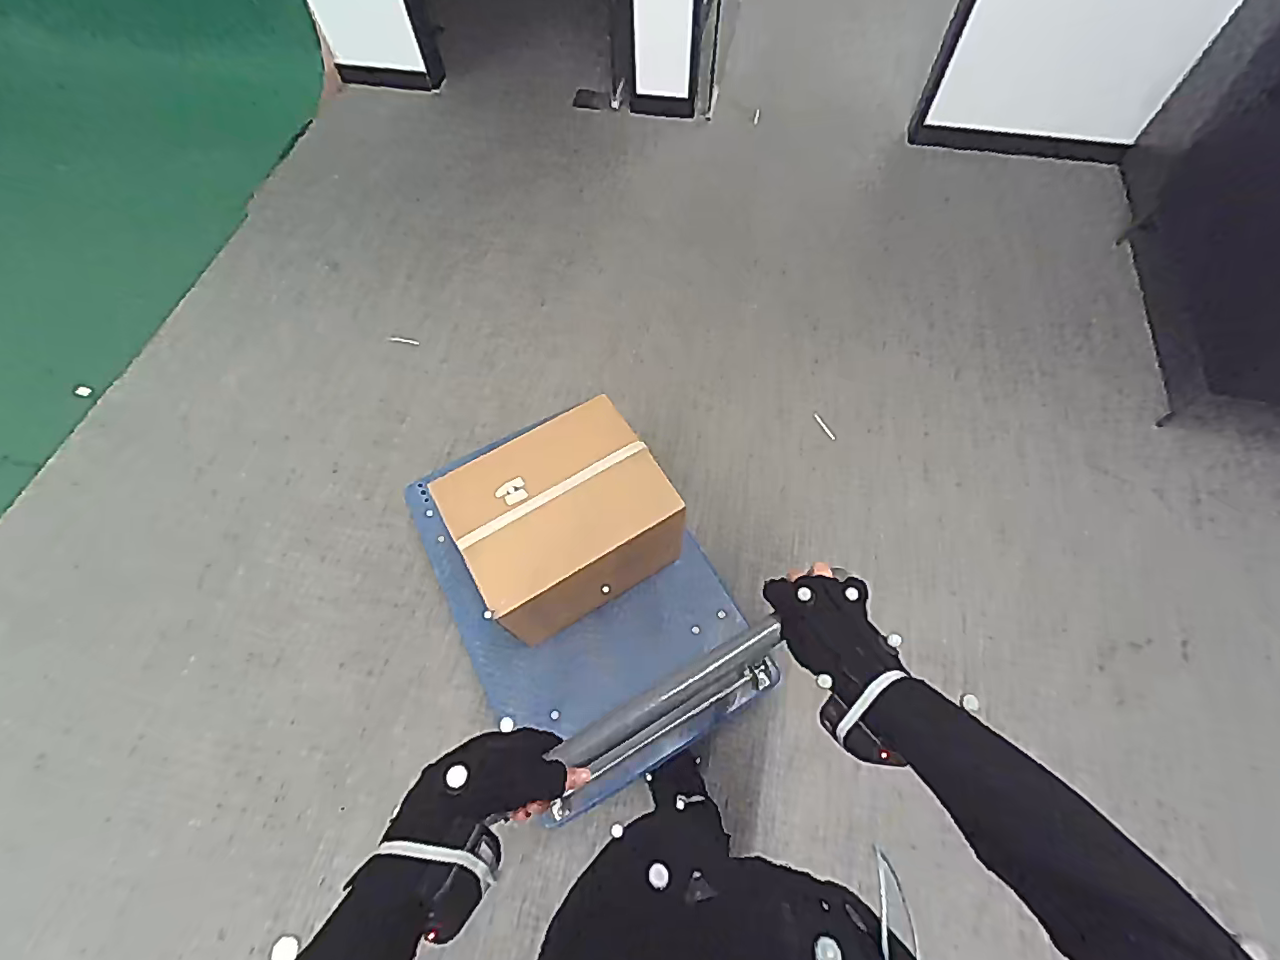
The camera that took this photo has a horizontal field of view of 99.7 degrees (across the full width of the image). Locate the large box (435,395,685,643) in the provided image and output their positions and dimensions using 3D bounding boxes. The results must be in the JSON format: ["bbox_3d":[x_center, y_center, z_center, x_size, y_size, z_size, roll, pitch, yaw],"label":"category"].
[{"bbox_3d":[-0.153,0.095,1.177,0.408,0.320,0.320,-31,66,-13],"label":"large box"}]
